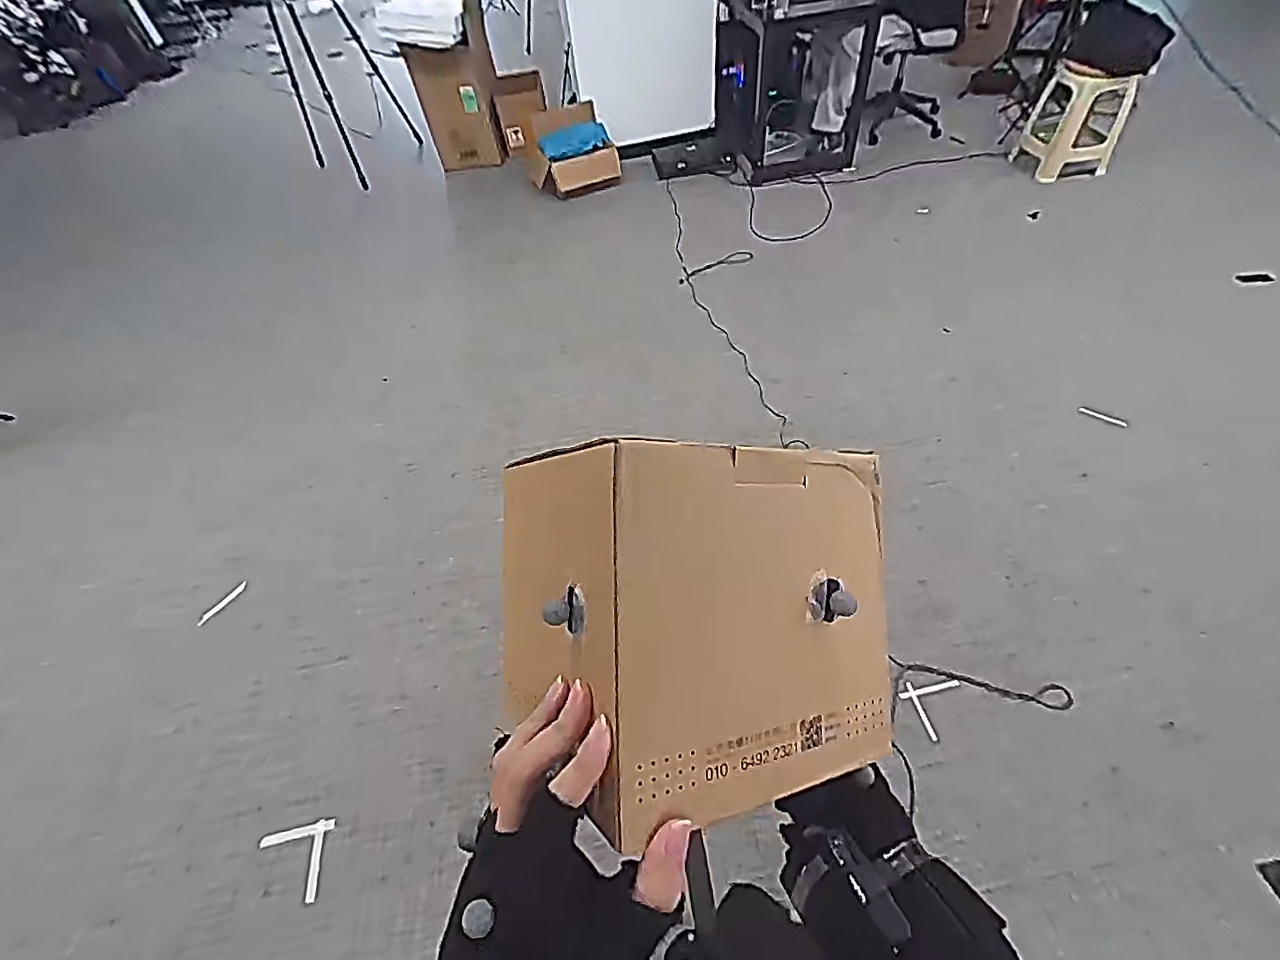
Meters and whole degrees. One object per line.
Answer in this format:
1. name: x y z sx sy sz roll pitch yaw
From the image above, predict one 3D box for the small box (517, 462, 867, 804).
1. small box: 0.024 0.079 0.348 0.168 0.179 0.176 1 87 -28
